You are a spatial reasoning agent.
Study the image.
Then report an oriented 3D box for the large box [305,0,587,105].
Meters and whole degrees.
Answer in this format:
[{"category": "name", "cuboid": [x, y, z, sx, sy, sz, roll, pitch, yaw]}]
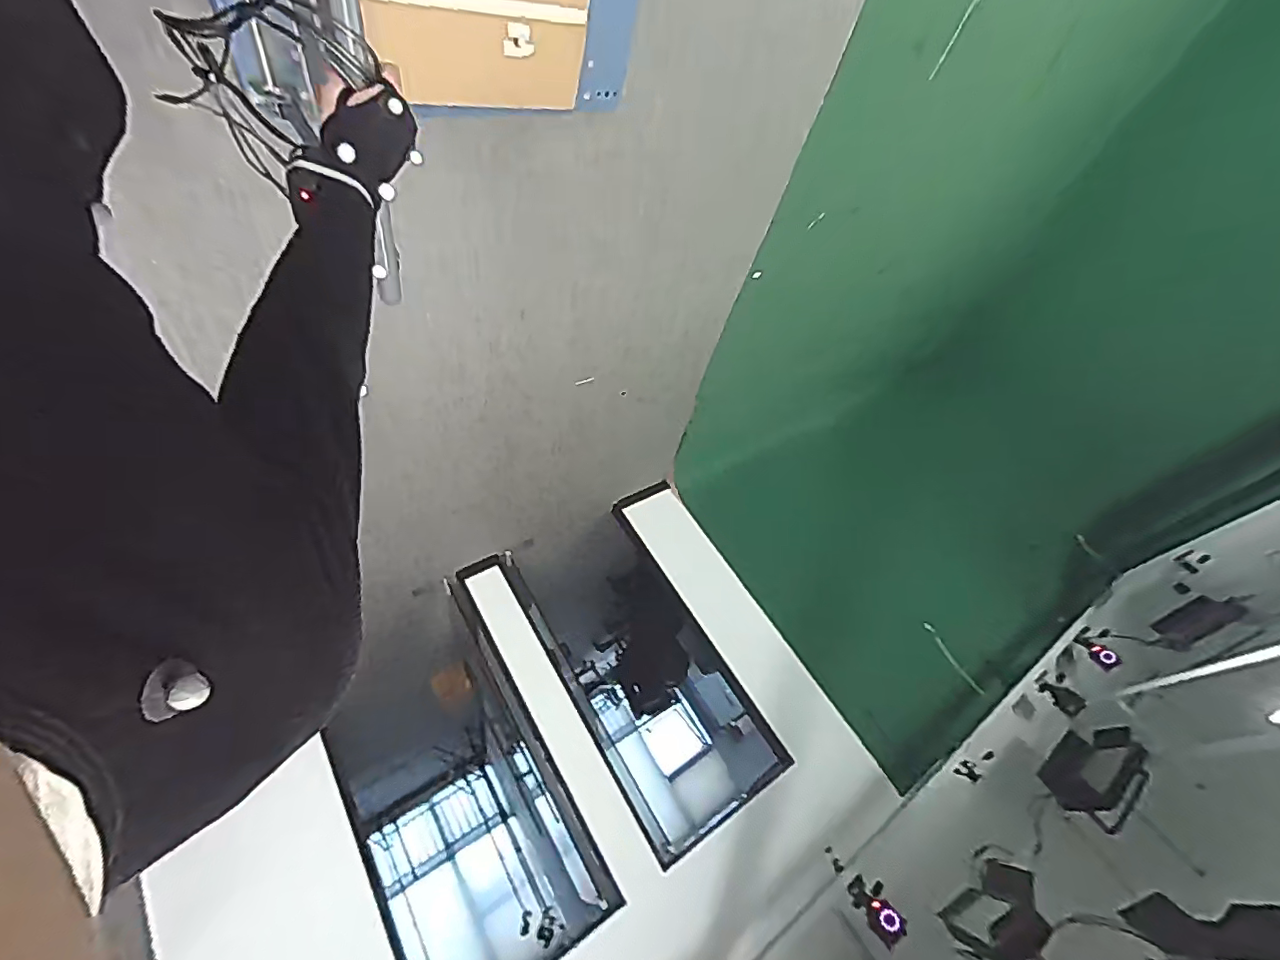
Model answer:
[{"category": "large box", "cuboid": [-0.340, -0.887, 0.926, 0.408, 0.320, 0.320, -22, 155, -31]}]
